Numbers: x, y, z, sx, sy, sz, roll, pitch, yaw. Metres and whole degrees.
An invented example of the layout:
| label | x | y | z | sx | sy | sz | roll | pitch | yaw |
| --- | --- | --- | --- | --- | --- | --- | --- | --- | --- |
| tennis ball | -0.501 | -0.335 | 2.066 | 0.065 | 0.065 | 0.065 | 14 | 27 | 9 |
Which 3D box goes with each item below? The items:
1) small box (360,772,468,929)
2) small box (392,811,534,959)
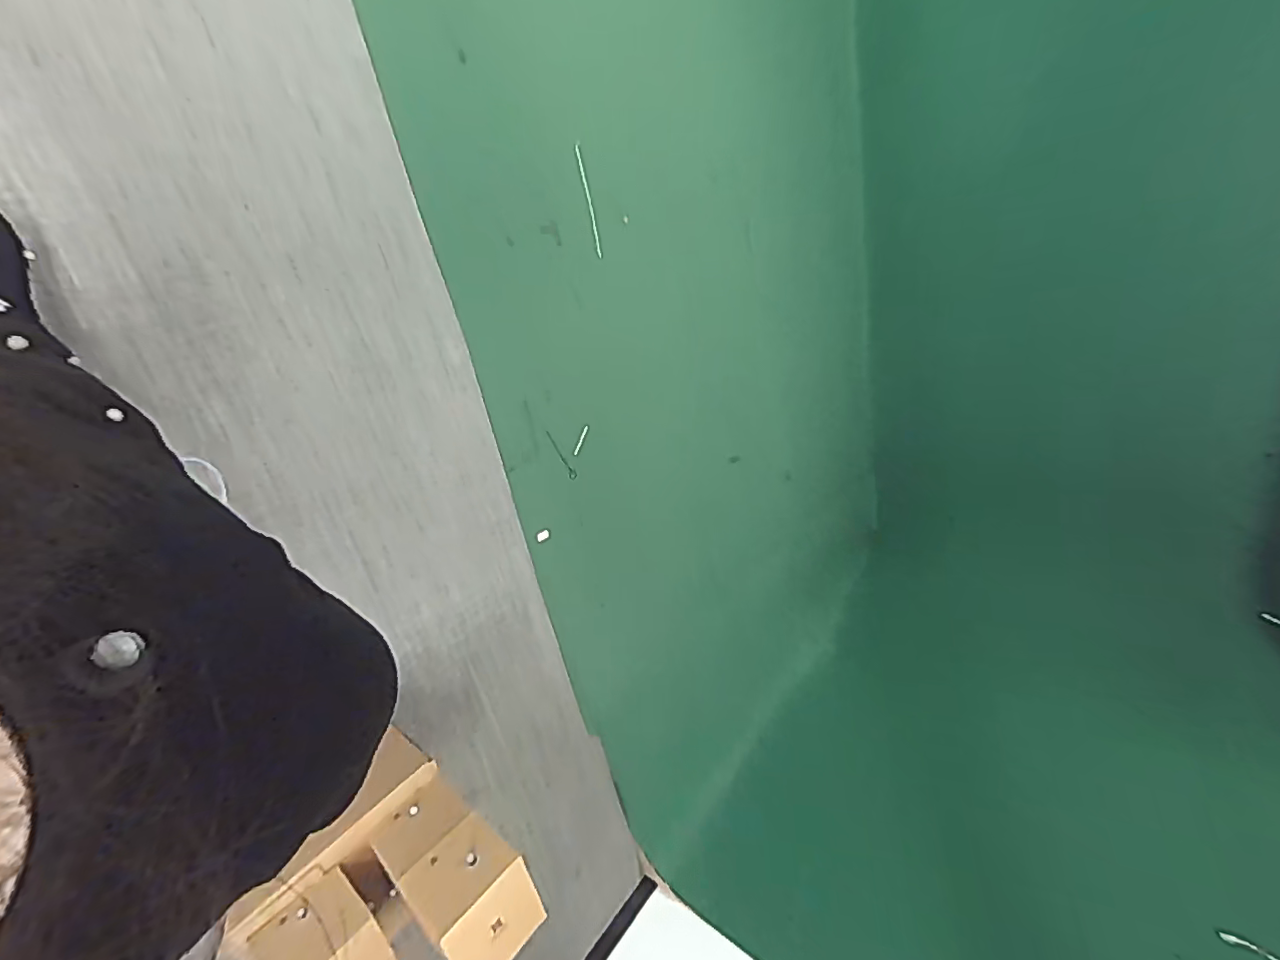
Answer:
| label | x | y | z | sx | sy | sz | roll | pitch | yaw |
| --- | --- | --- | --- | --- | --- | --- | --- | --- | --- |
| small box | -0.449 | 0.758 | 1.127 | 0.168 | 0.176 | 0.179 | -31 | 116 | -40 |
| small box | -0.333 | 0.765 | 1.013 | 0.168 | 0.176 | 0.179 | -31 | 118 | -39 |
